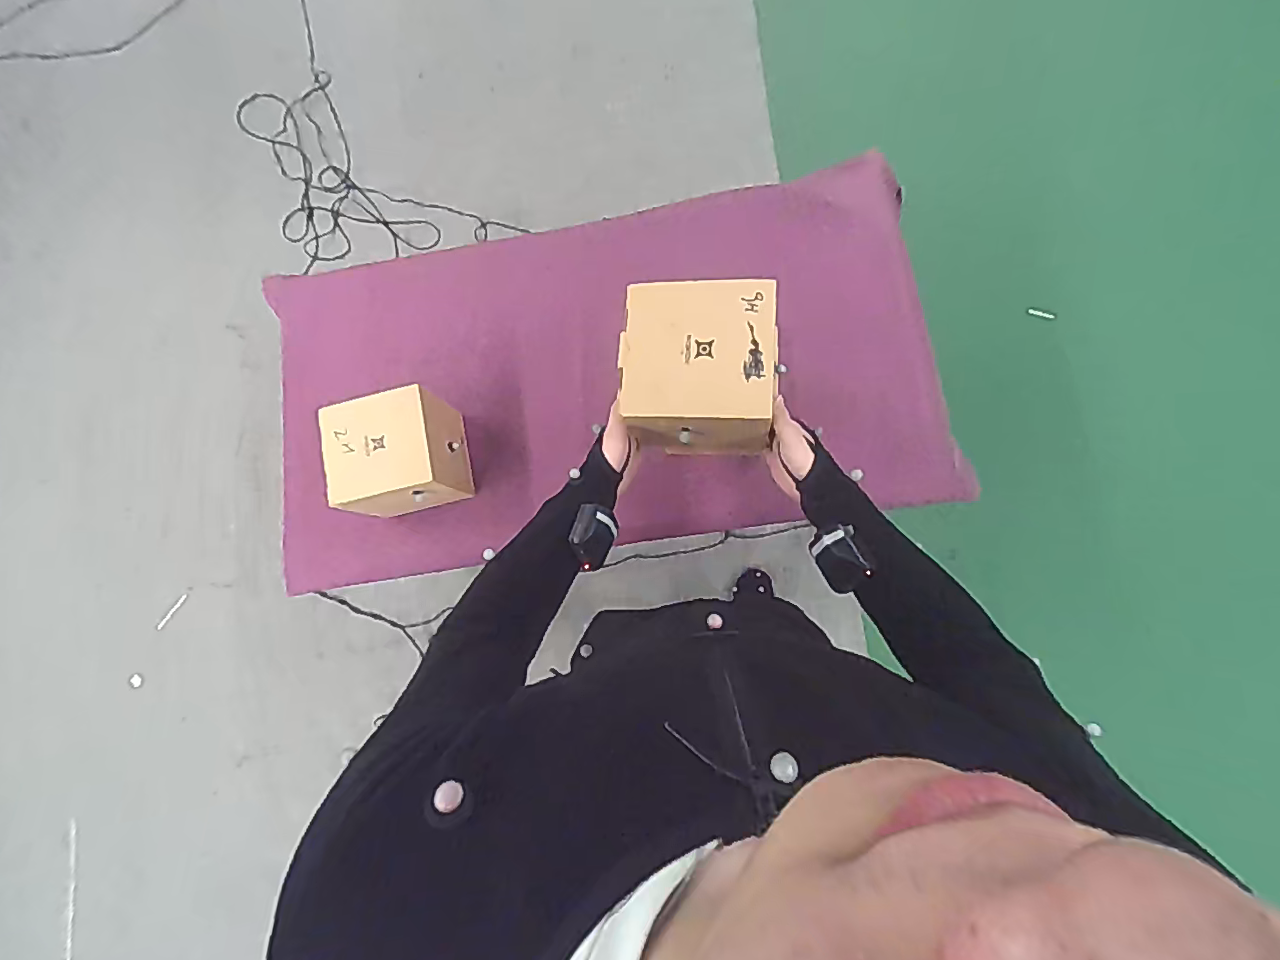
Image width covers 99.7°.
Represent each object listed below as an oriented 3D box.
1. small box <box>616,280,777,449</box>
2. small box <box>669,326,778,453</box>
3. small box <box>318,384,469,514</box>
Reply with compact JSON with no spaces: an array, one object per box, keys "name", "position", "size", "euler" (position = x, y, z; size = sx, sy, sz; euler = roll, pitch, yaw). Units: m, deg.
[{"name":"small box","position":[0.079,-0.136,0.691],"size":[0.179,0.176,0.168],"euler":[3,82,11]},{"name":"small box","position":[0.127,-0.142,0.887],"size":[0.179,0.176,0.168],"euler":[2,81,6]},{"name":"small box","position":[-0.409,-0.045,0.925],"size":[0.179,0.176,0.168],"euler":[-13,79,4]}]
